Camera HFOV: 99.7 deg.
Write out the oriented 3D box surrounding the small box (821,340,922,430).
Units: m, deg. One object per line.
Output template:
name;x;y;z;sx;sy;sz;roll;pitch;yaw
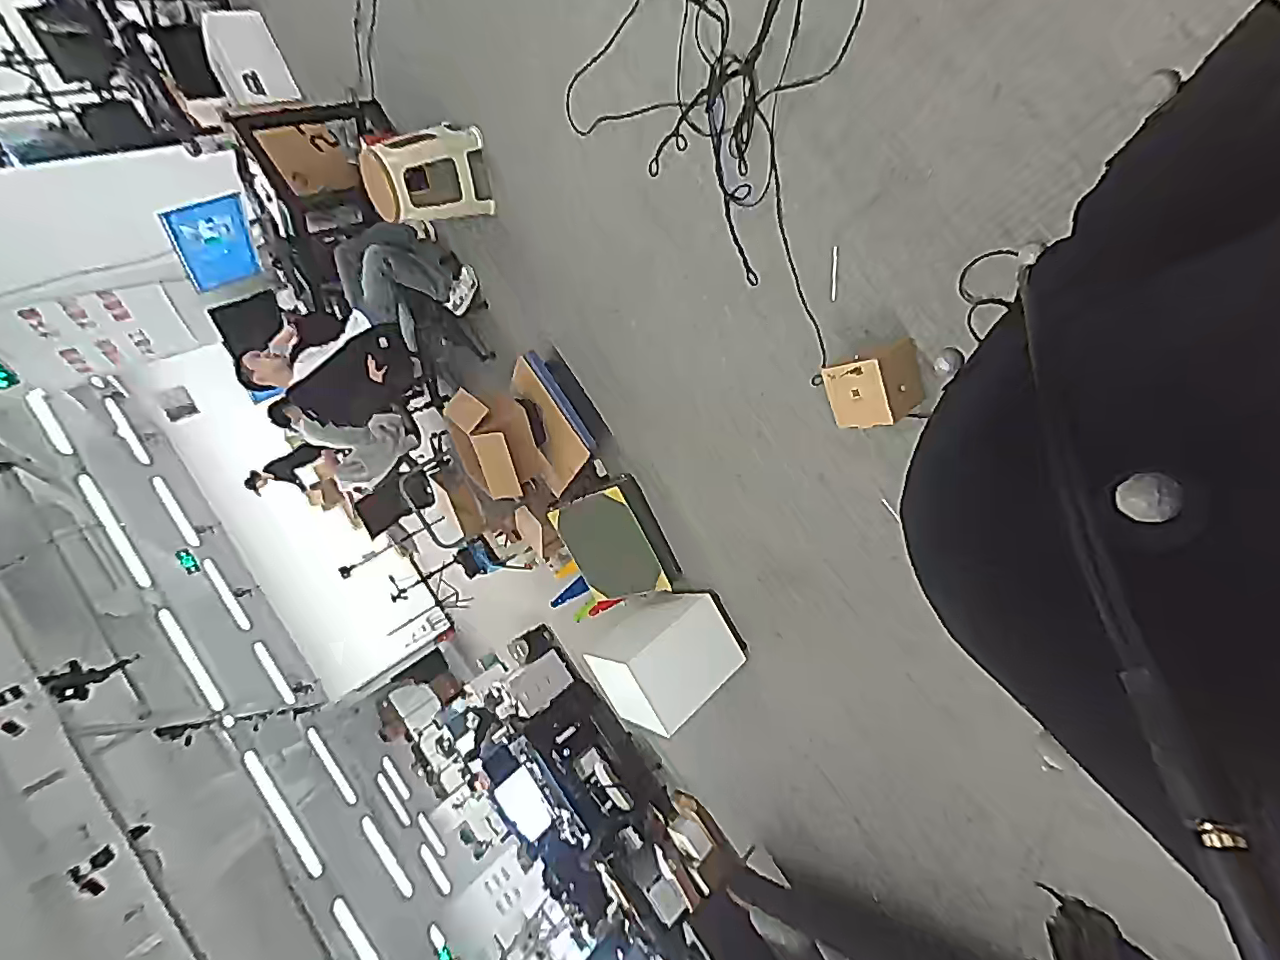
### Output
small box;0.615;-0.249;1.428;0.168;0.176;0.179;1;117;56
